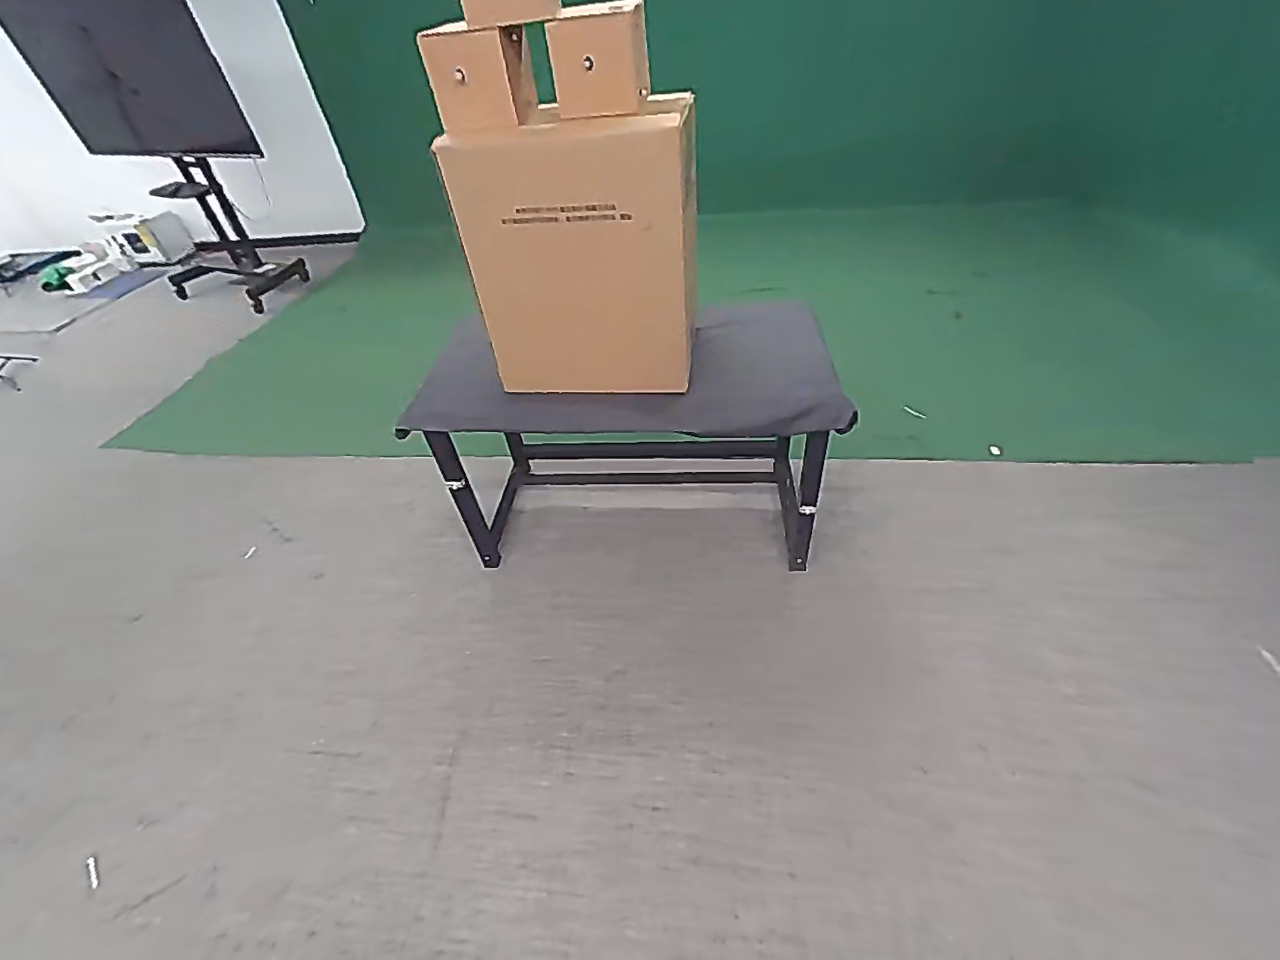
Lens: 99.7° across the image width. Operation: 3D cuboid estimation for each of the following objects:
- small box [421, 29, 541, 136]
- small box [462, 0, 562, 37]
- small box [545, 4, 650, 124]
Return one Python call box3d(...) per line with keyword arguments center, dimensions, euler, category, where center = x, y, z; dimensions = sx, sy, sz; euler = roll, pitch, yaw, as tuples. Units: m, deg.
box3d(center=(-0.335, -0.868, 1.177), dimensions=(0.179, 0.176, 0.168), euler=(3, 47, 10), category="small box")
box3d(center=(-0.254, -0.983, 1.049), dimensions=(0.179, 0.176, 0.168), euler=(-6, 44, 4), category="small box")
box3d(center=(-0.079, -0.879, 1.148), dimensions=(0.179, 0.176, 0.168), euler=(2, 47, 11), category="small box")
